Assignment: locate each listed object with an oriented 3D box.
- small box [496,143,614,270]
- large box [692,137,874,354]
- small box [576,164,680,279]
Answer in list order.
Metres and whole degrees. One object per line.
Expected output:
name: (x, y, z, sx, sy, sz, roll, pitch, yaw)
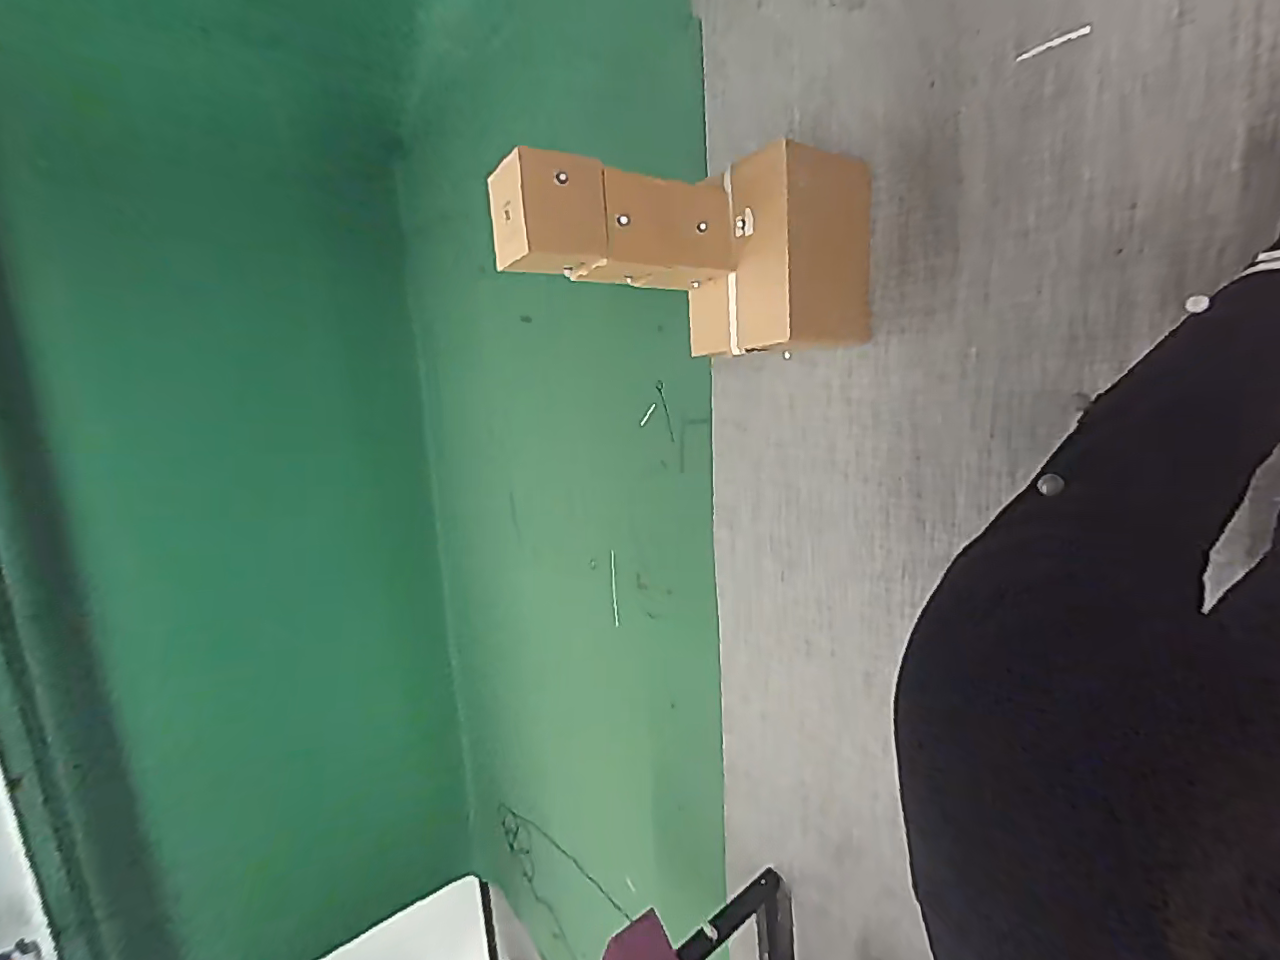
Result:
small box: (-0.164, -0.518, 1.052, 0.168, 0.176, 0.179, 13, 110, 56)
large box: (0.349, -0.531, 1.323, 0.320, 0.320, 0.408, 9, 104, 53)
small box: (-0.031, -0.535, 1.146, 0.168, 0.176, 0.179, 9, 107, 56)
